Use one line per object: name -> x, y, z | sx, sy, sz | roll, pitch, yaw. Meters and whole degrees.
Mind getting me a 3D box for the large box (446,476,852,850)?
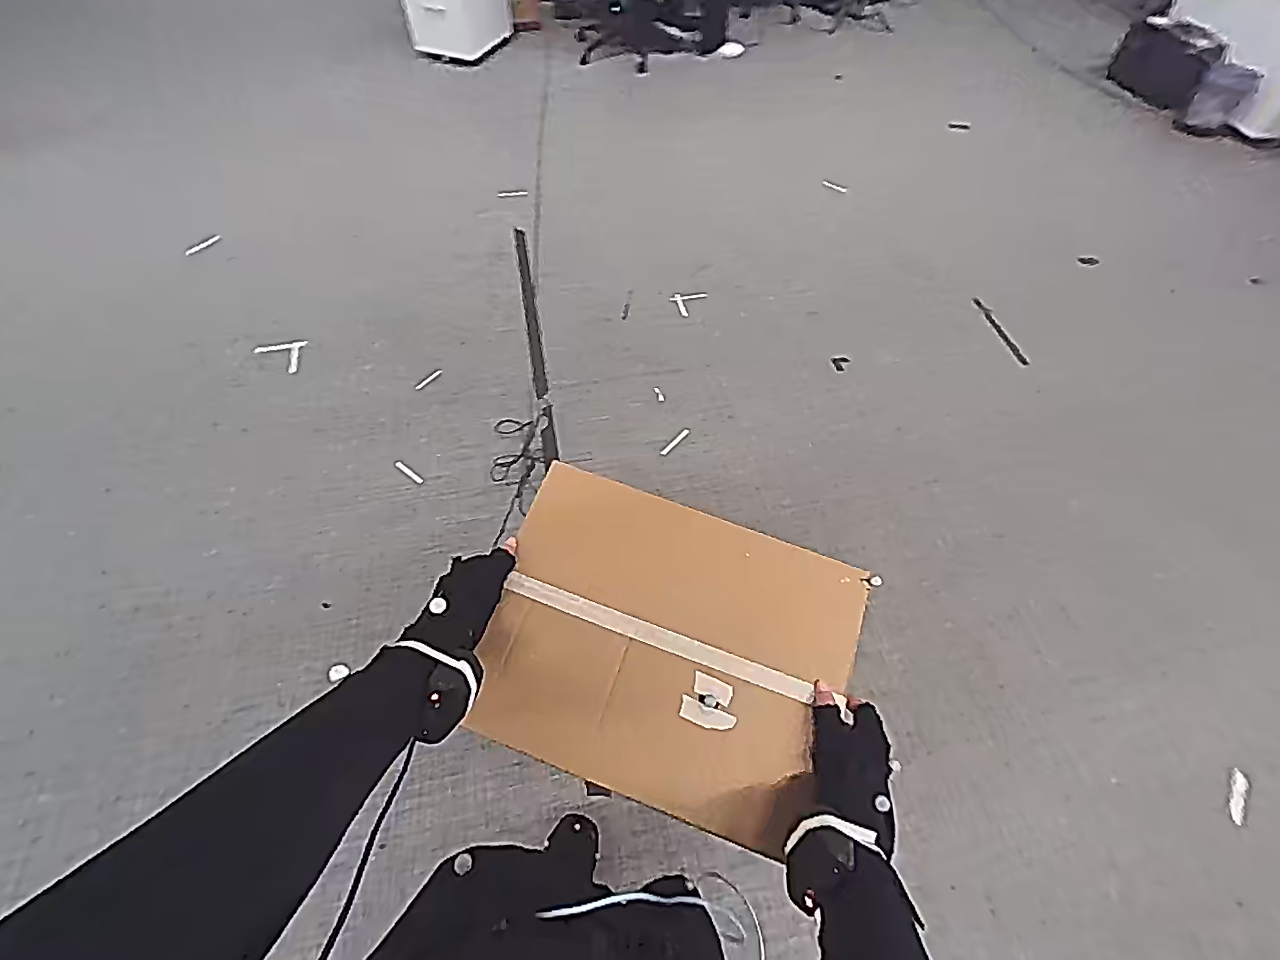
large box -> 0.016, 0.242, 0.754 | 0.408, 0.320, 0.320 | 19, 68, 5
